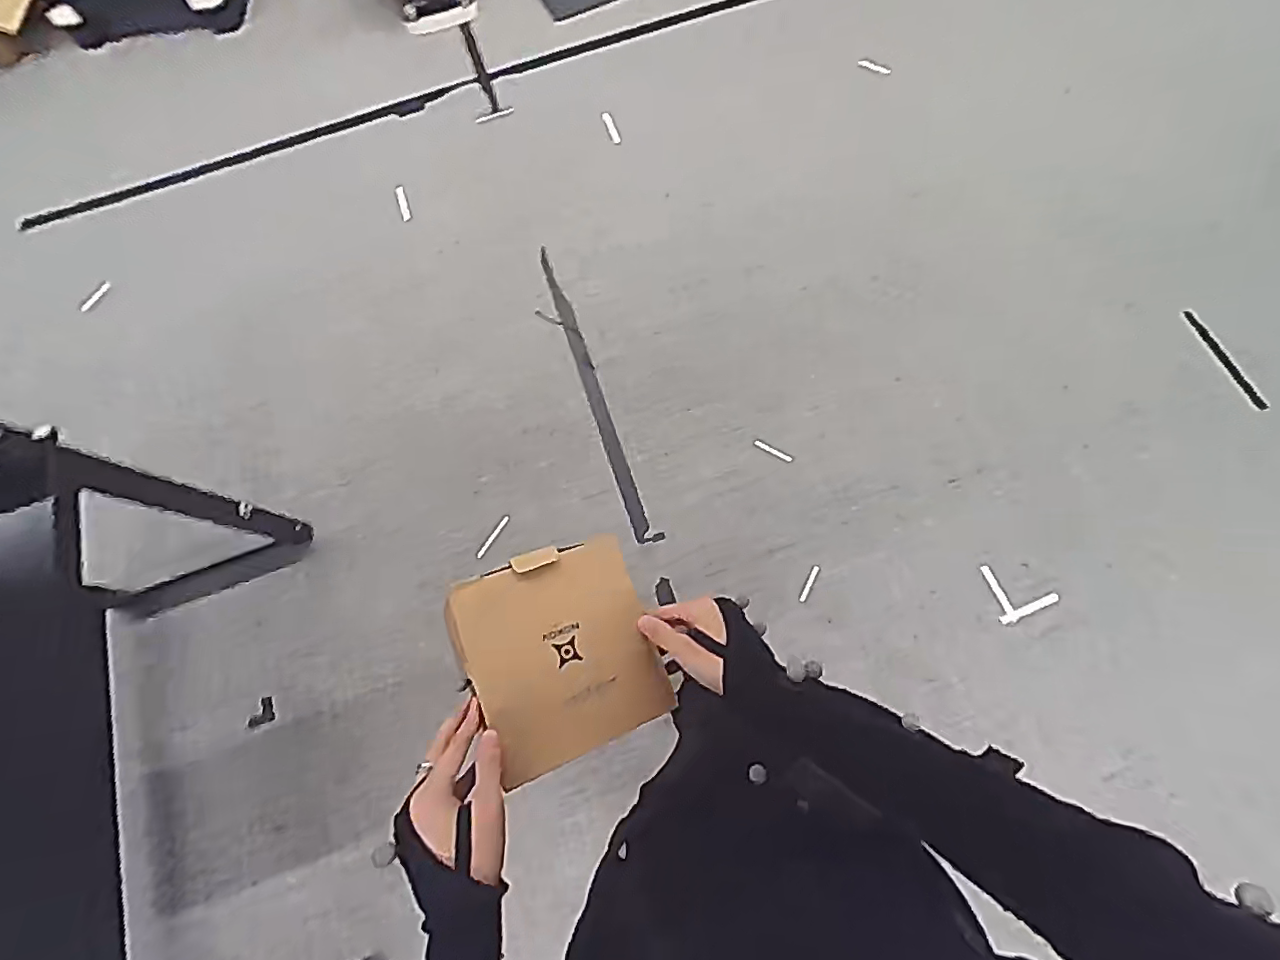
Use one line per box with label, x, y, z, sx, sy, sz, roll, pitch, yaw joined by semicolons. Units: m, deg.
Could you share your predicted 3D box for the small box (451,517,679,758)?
small box;-0.090;0.161;0.554;0.168;0.176;0.179;-14;73;-25
